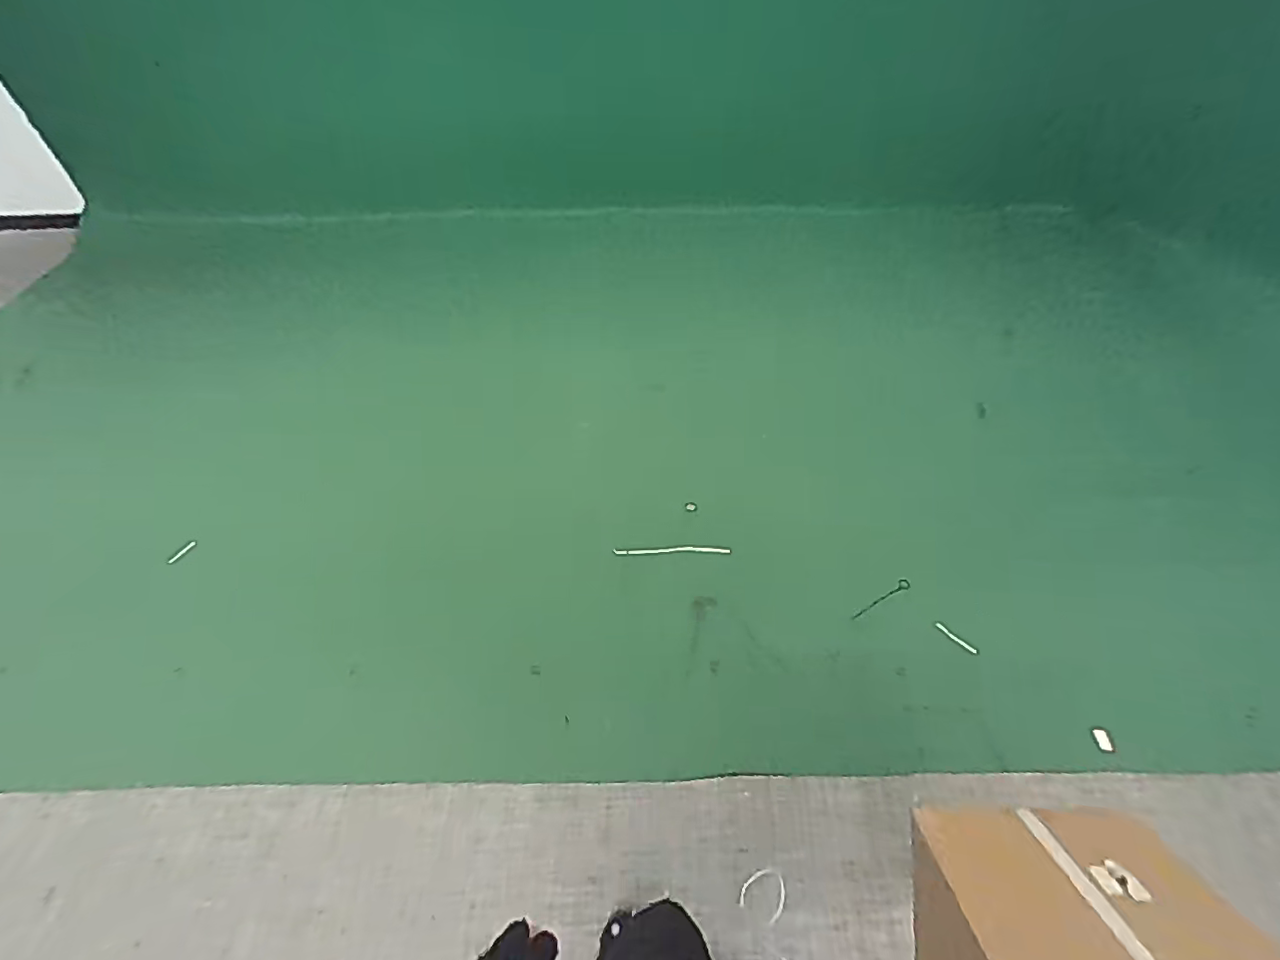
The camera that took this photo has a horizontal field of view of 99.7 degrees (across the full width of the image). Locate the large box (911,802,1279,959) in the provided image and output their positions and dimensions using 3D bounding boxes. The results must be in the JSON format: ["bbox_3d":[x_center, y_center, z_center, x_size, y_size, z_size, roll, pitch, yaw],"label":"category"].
[{"bbox_3d":[0.558,0.667,0.641,0.320,0.320,0.408,-2,5,8],"label":"large box"}]
